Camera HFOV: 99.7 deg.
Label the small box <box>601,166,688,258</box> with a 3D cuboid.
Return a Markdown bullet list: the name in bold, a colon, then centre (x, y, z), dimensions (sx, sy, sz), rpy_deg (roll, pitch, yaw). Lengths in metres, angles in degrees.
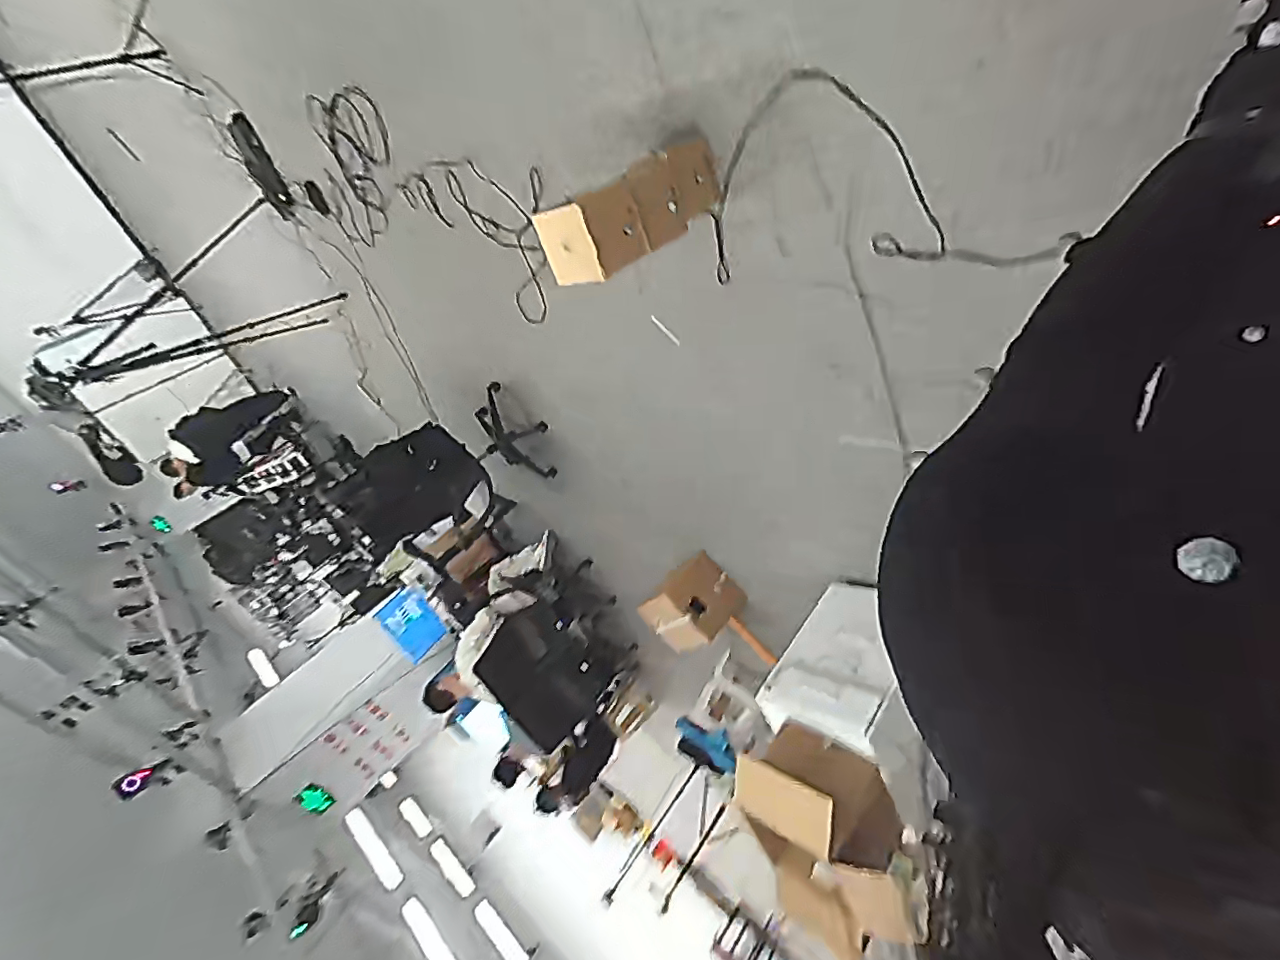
- **small box**: centre (-0.009, -0.671, 1.367), dimensions (0.179, 0.176, 0.168), rpy_deg (14, 137, 42)

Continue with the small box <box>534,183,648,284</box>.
- **small box**: centre (-0.110, -0.579, 1.279), dimensions (0.179, 0.176, 0.168), rpy_deg (13, 135, 43)

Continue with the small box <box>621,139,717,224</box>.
- **small box**: centre (0.087, -0.781, 1.443), dimensions (0.179, 0.176, 0.168), rpy_deg (12, 134, 46)
